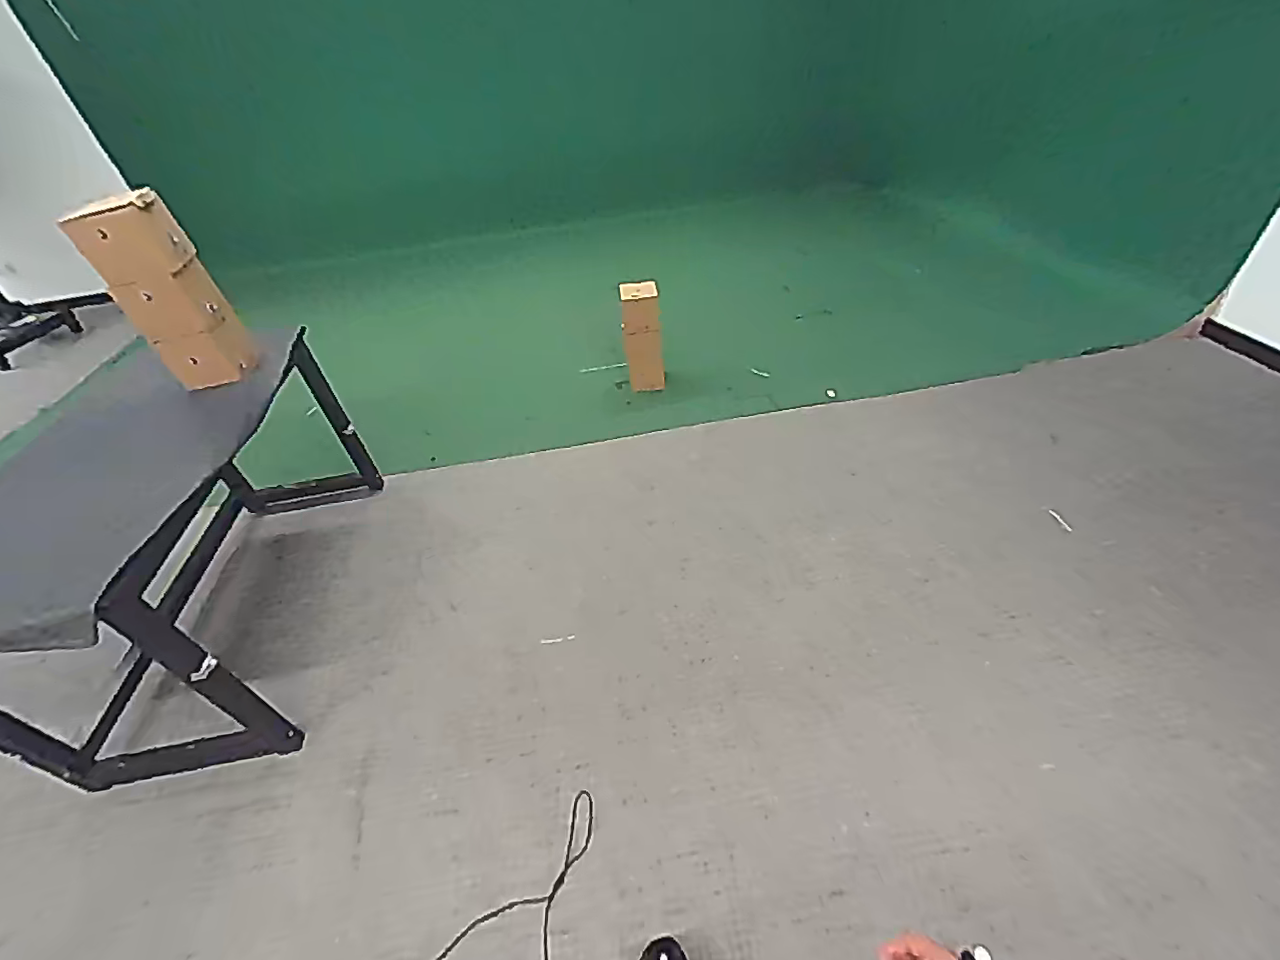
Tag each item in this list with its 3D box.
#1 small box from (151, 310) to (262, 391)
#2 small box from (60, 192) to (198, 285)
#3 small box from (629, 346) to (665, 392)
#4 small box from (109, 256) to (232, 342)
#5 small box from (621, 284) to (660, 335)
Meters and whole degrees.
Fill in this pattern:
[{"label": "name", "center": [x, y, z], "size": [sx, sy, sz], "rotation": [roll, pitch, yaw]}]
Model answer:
[{"label": "small box", "center": [-1.312, -0.396, 1.656], "size": [0.179, 0.176, 0.168], "rotation": [-12, 42, 0]}, {"label": "small box", "center": [-1.342, -0.638, 1.436], "size": [0.179, 0.176, 0.168], "rotation": [-16, 44, -6]}, {"label": "small box", "center": [0.037, -0.559, 2.749], "size": [0.168, 0.176, 0.179], "rotation": [-4, 41, 3]}, {"label": "small box", "center": [-1.328, -0.514, 1.546], "size": [0.179, 0.176, 0.168], "rotation": [-13, 44, -4]}, {"label": "small box", "center": [0.001, -0.795, 2.523], "size": [0.168, 0.176, 0.179], "rotation": [-6, 41, -1]}]
